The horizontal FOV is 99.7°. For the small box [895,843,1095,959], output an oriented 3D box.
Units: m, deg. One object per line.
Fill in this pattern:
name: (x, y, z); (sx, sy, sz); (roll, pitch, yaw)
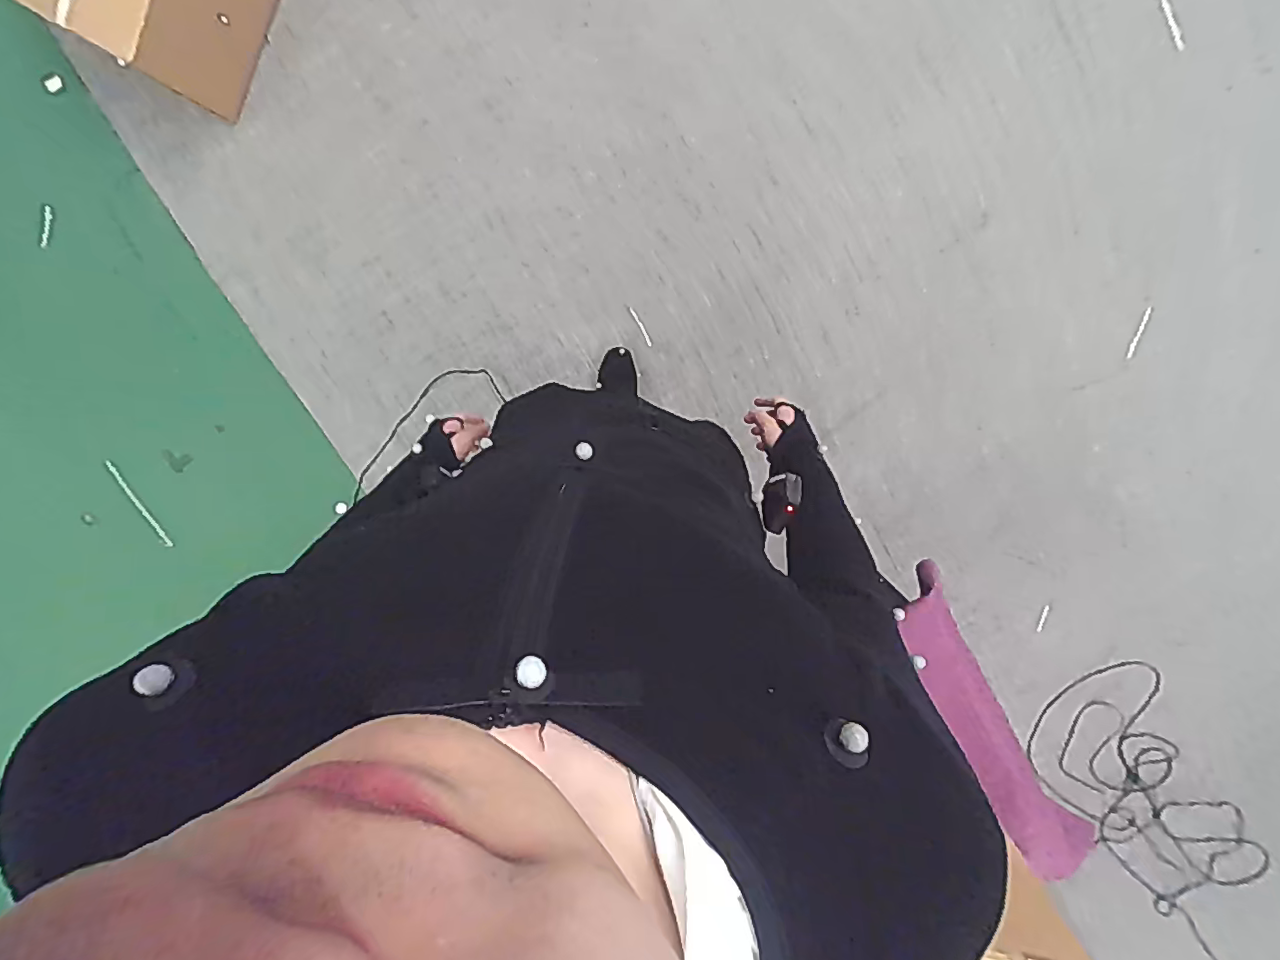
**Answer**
small box: (0.504, 0.681, 0.793); (0.168, 0.176, 0.179); (12, 103, 0)

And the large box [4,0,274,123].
large box: (-1.136, -1.163, 1.258); (0.320, 0.320, 0.408); (28, 102, -4)
